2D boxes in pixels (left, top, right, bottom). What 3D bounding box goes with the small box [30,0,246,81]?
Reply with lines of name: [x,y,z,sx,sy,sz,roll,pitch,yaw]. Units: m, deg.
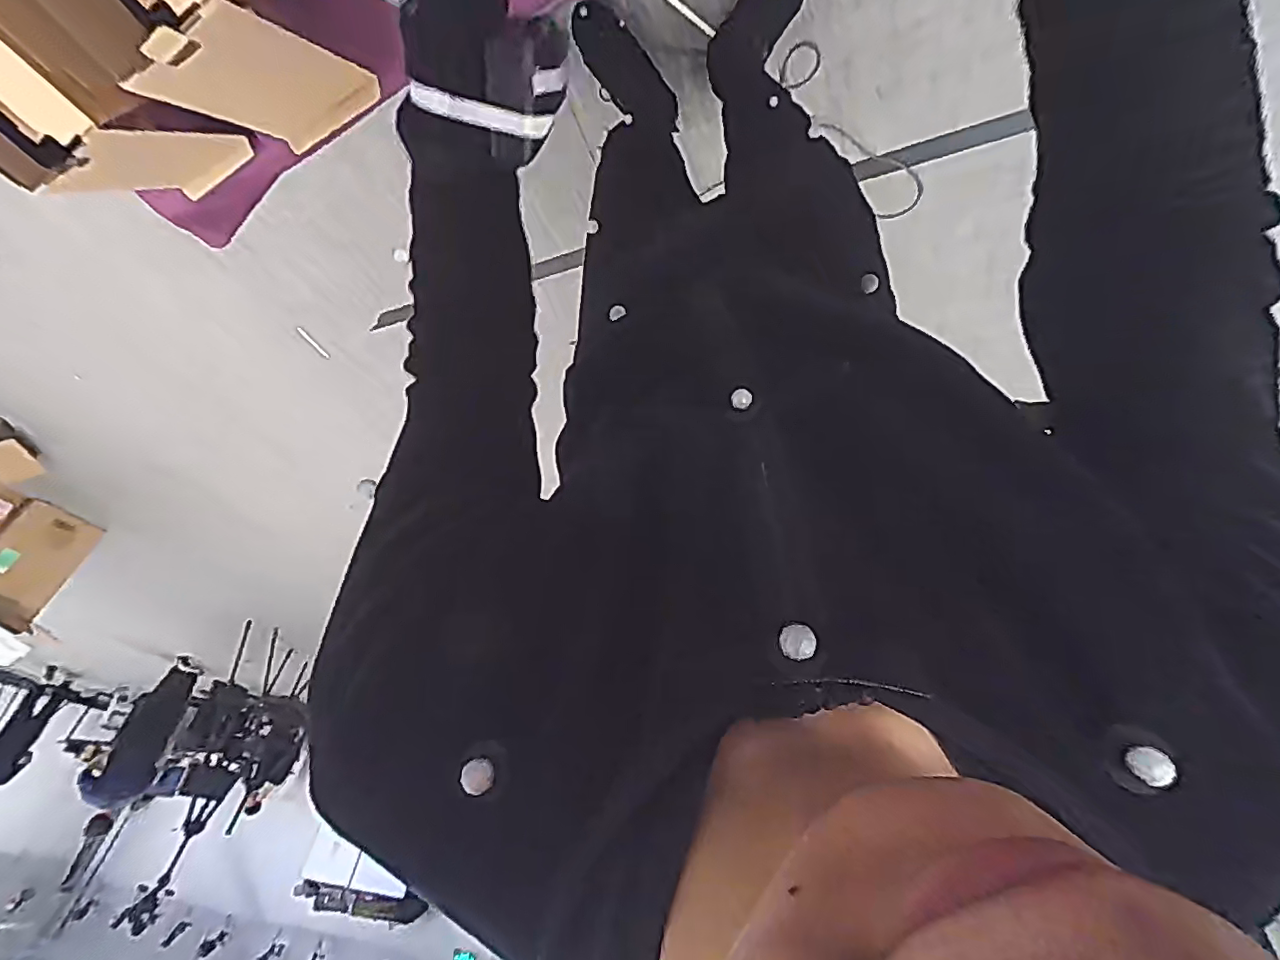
small box: [-0.452,-0.504,0.469,0.168,0.176,0.179,-12,139,24]
